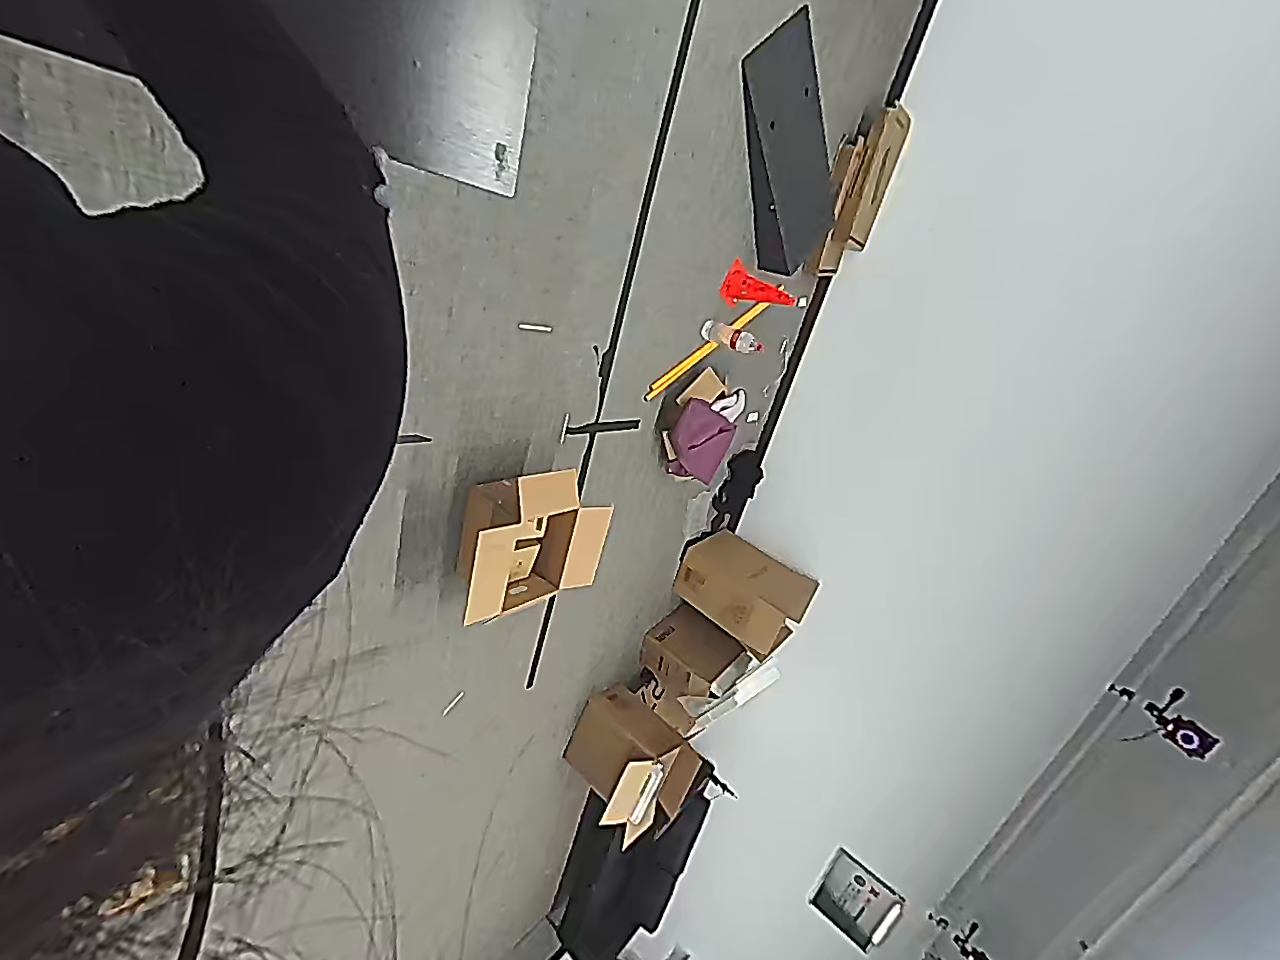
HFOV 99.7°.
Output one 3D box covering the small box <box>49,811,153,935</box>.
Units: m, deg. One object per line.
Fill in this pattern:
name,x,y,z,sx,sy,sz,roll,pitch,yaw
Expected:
small box,-1.465,1.056,1.472,0.179,0.176,0.168,-8,119,-52
